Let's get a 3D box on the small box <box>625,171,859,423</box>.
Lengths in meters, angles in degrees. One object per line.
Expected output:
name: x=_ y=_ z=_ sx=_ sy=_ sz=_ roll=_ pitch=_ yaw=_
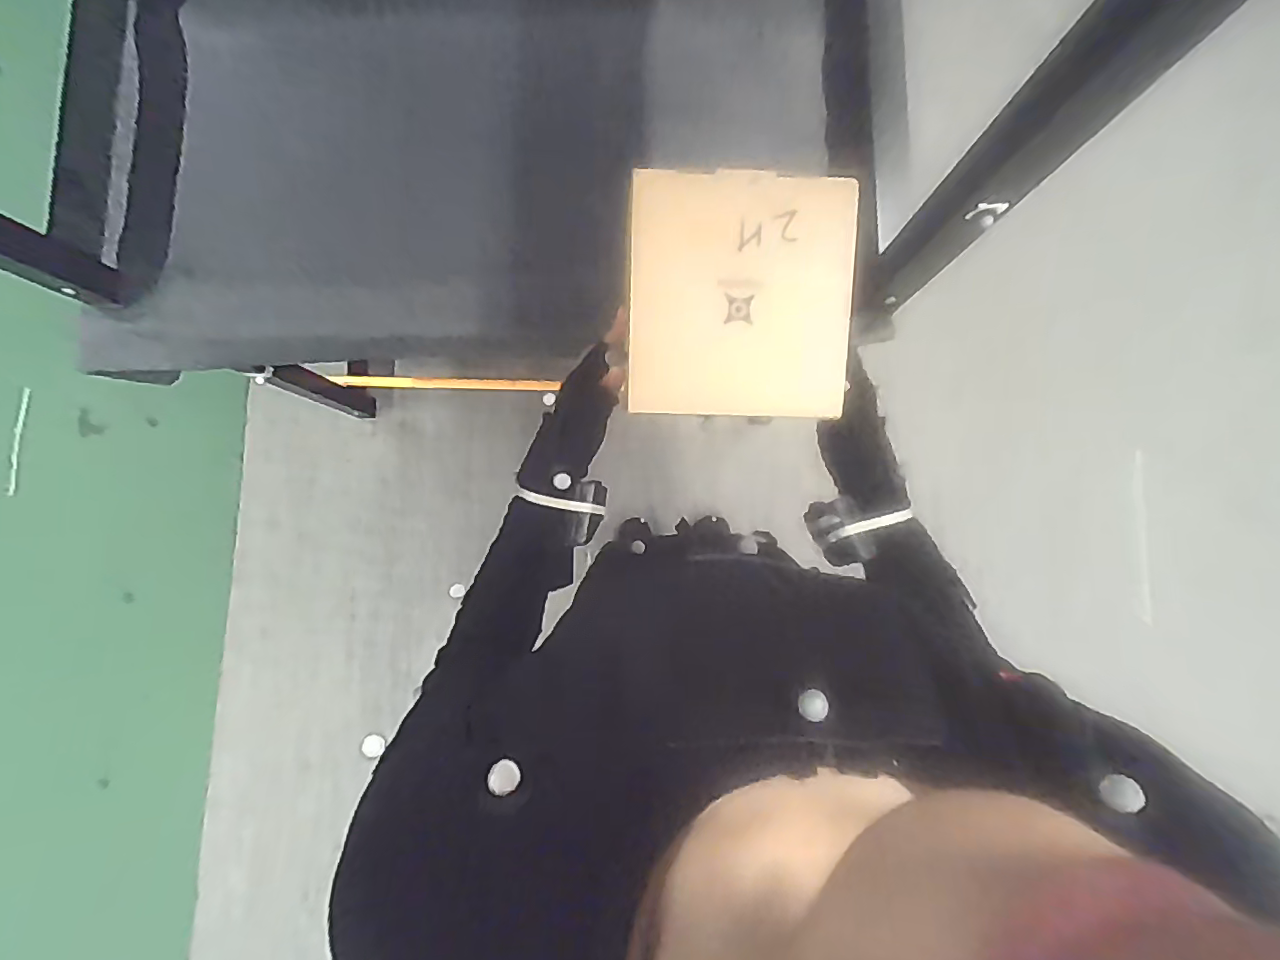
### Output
small box: x=0.072 y=-0.145 z=0.480 sx=0.168 sy=0.176 sz=0.179 roll=1 pitch=98 yaw=-3
